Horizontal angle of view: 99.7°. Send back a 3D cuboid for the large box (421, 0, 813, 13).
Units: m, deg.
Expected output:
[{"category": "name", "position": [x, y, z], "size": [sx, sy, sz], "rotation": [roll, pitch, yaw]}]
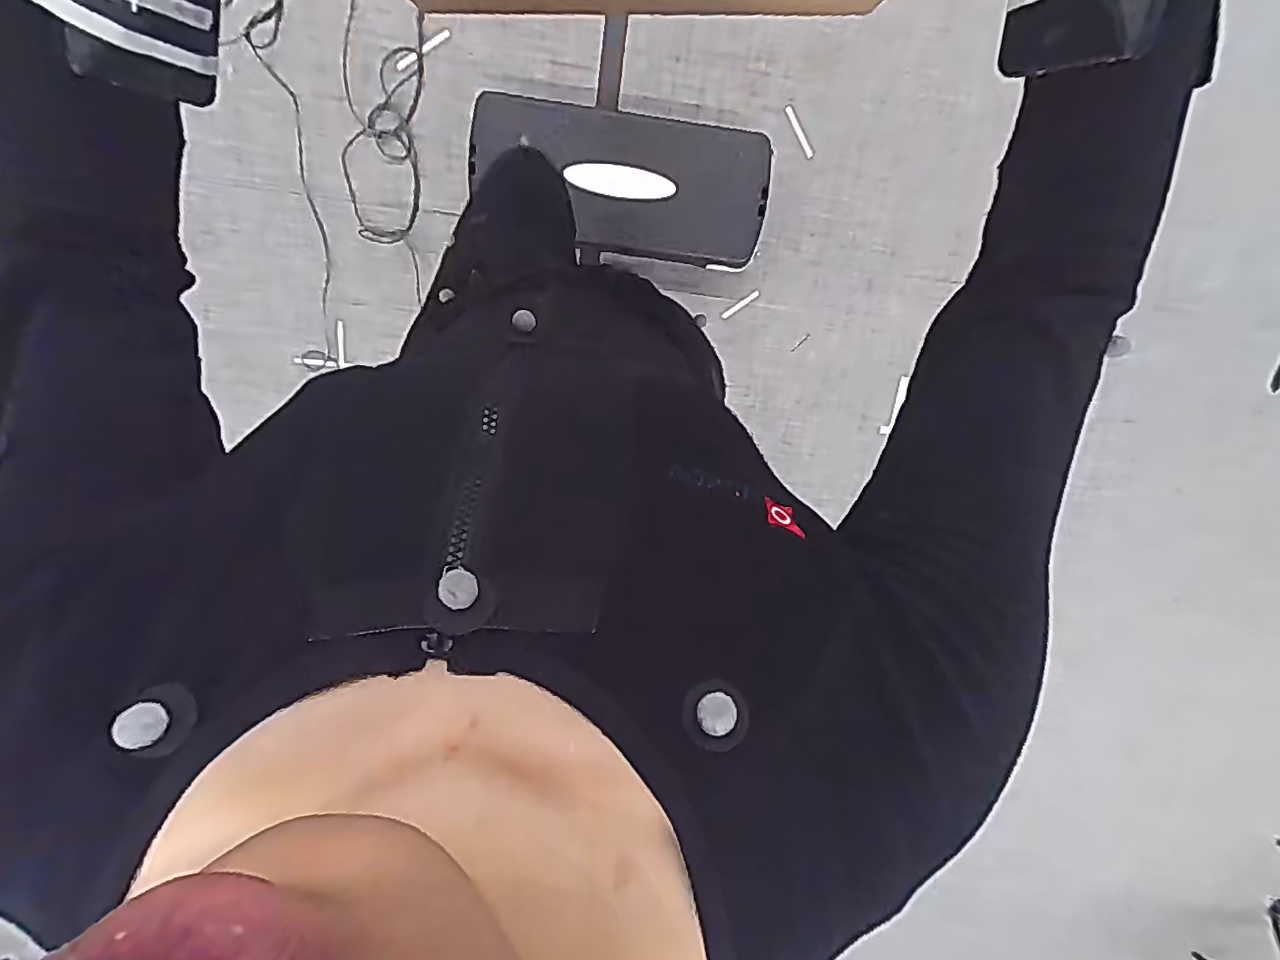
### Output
[{"category": "large box", "position": [-0.002, -0.495, 0.286], "size": [0.408, 0.320, 0.320], "rotation": [0, 118, 1]}]
